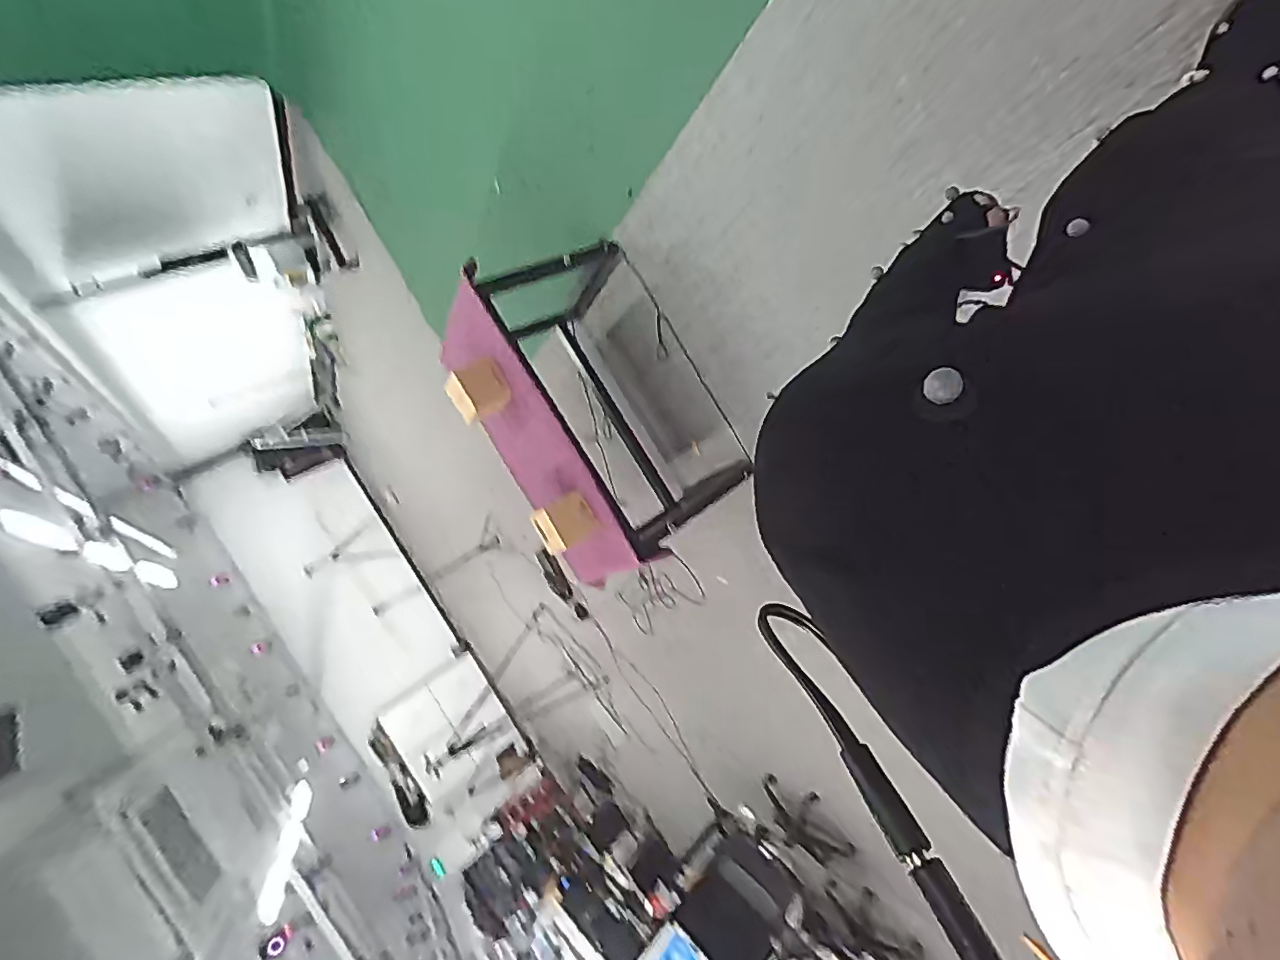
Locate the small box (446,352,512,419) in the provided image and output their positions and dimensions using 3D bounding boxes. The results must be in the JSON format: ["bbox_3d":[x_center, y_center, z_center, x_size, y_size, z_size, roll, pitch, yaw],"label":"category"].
[{"bbox_3d":[-0.614,-0.362,2.071,0.168,0.176,0.179,59,149,-4],"label":"small box"}]
